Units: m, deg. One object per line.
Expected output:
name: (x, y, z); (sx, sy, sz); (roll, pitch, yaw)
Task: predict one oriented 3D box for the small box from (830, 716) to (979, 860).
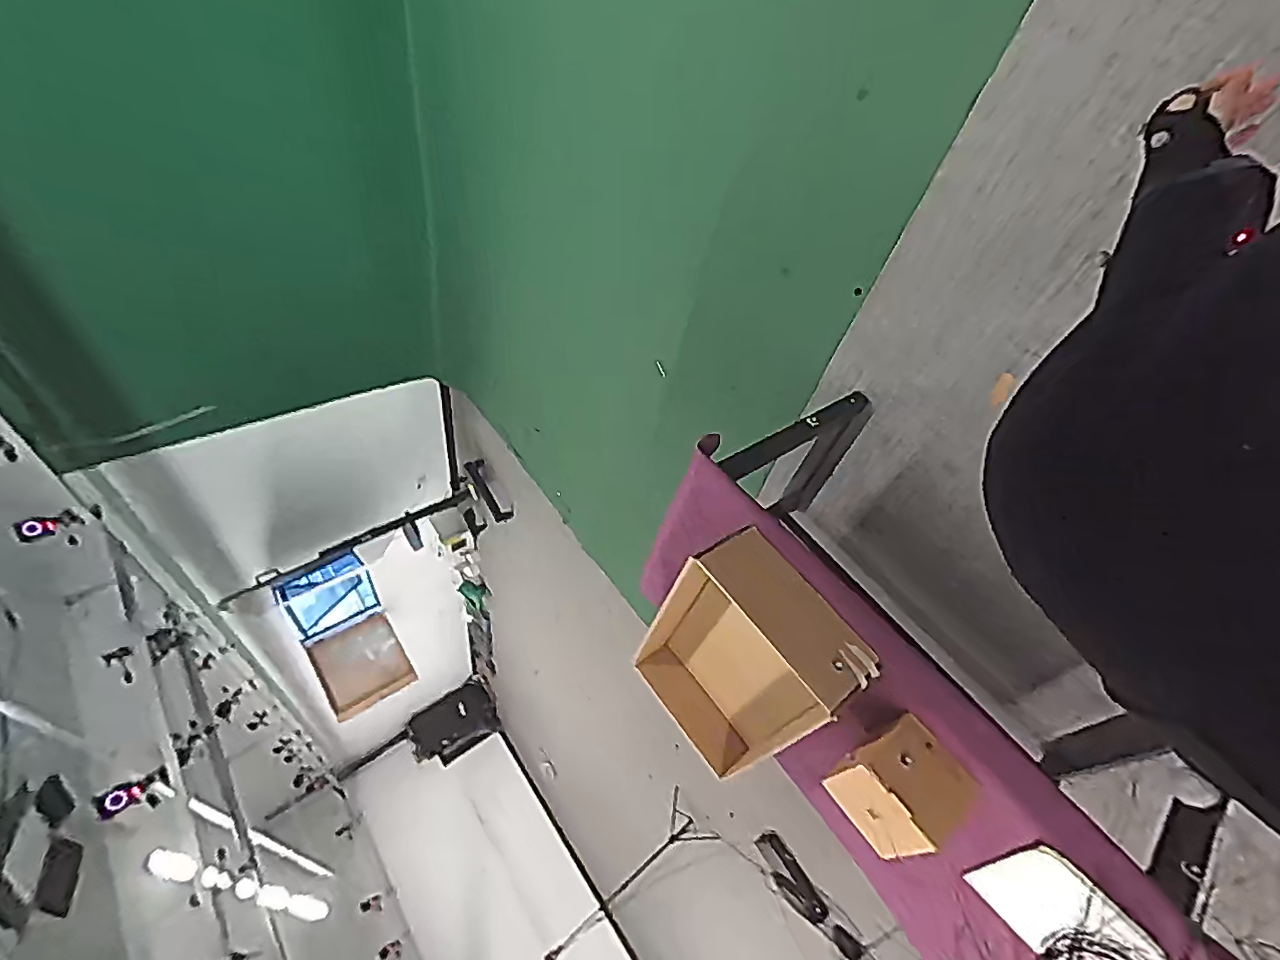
small box: (0.512, 0.589, 1.043); (0.168, 0.176, 0.179); (50, 147, 24)
